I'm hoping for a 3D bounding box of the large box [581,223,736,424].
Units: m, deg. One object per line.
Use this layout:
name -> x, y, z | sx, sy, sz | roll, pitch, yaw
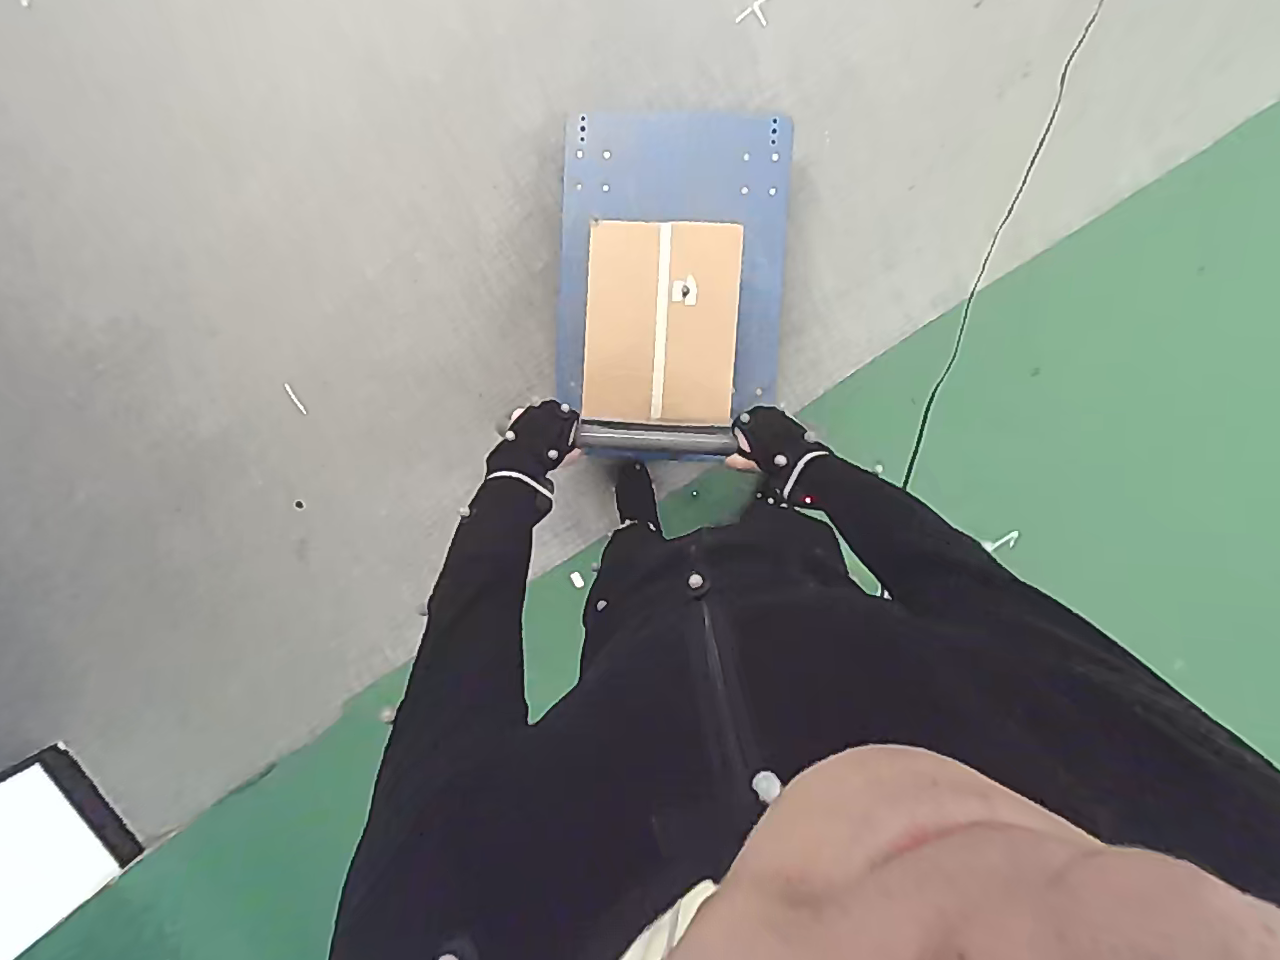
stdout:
large box -> 0.047, -0.341, 1.281 | 0.320, 0.320, 0.408 | 4, 95, 3
